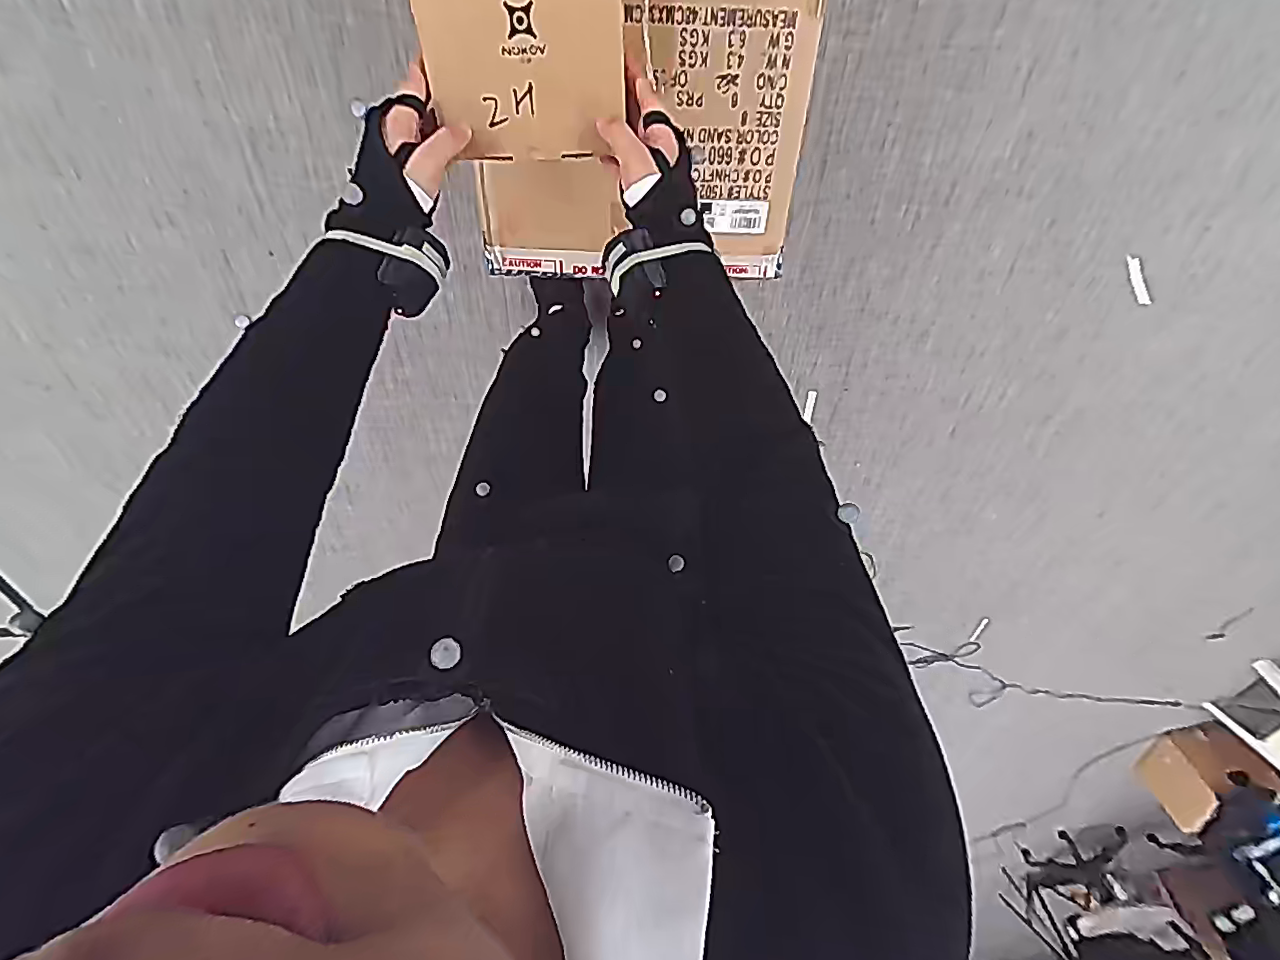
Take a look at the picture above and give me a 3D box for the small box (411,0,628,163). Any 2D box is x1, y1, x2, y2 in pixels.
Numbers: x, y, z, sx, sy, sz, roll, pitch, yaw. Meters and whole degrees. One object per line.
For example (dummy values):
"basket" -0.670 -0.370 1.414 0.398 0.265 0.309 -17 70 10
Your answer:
"small box" -0.097 -0.406 0.493 0.168 0.176 0.179 -2 131 0
